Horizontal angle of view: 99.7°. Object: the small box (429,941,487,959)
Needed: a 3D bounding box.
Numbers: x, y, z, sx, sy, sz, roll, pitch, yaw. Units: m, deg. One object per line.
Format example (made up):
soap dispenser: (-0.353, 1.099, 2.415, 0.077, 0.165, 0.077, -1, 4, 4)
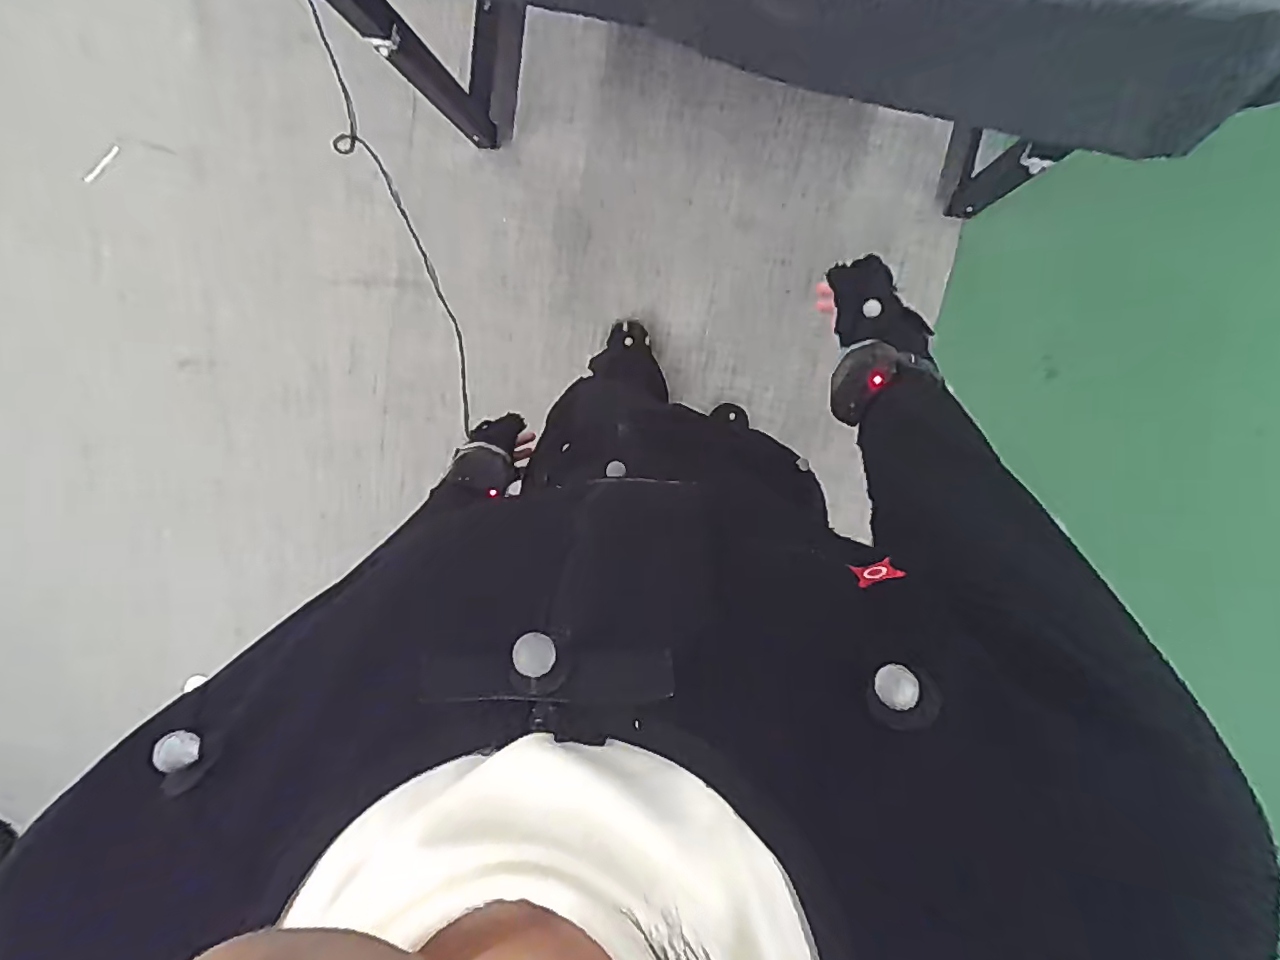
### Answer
small box: (-0.611, 1.650, 1.754, 0.179, 0.176, 0.168, -1, 101, 7)
